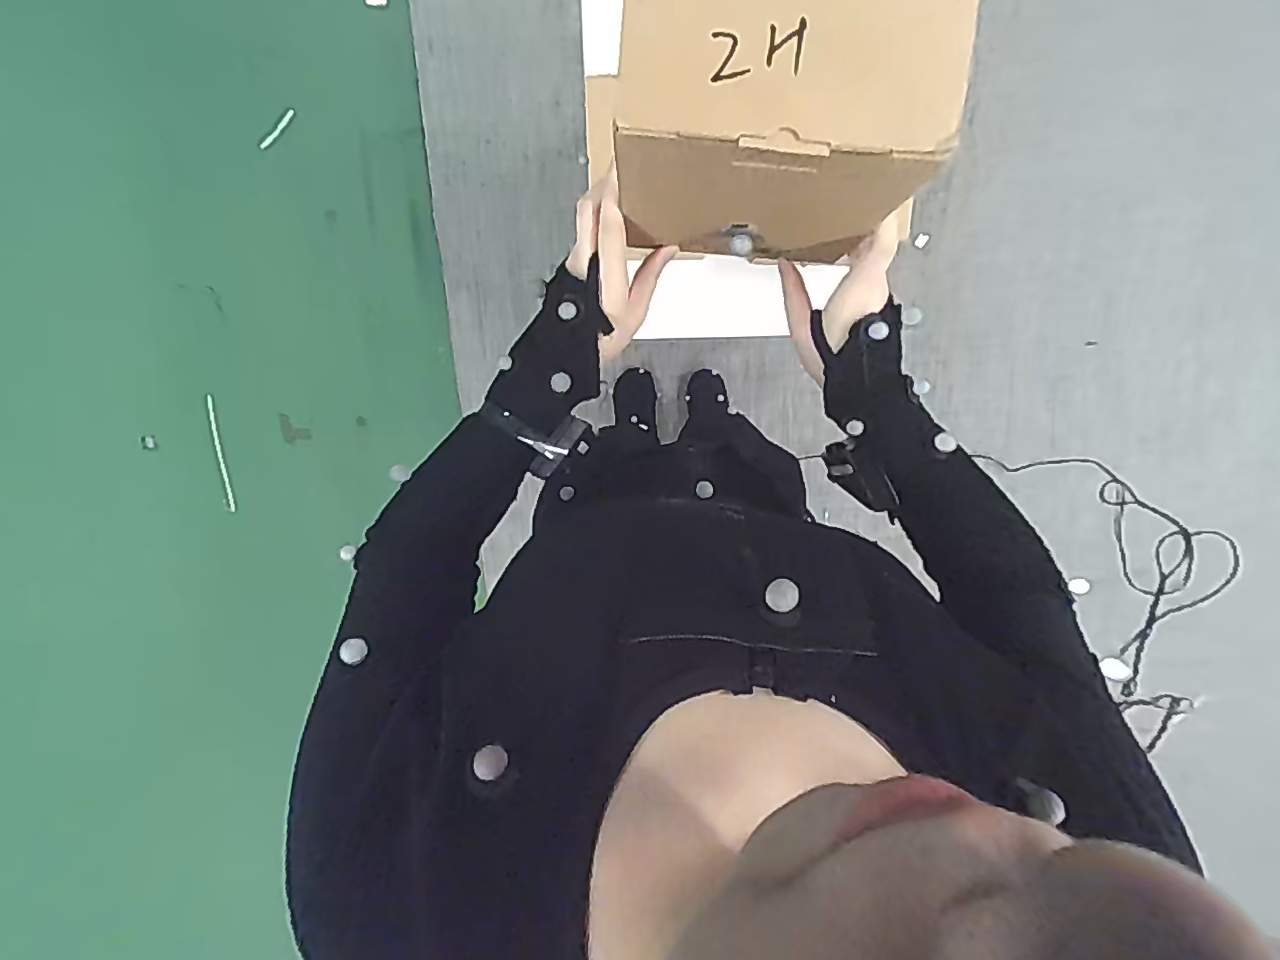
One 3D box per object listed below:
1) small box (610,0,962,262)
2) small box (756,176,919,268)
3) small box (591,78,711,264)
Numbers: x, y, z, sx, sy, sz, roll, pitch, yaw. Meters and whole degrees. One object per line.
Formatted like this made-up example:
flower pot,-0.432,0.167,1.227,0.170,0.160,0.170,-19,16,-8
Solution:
small box,0.074,-0.256,0.337,0.168,0.176,0.179,5,96,1
small box,0.251,-0.393,0.725,0.168,0.176,0.179,0,104,-1
small box,0.020,-0.393,0.717,0.168,0.176,0.179,-2,104,-2
